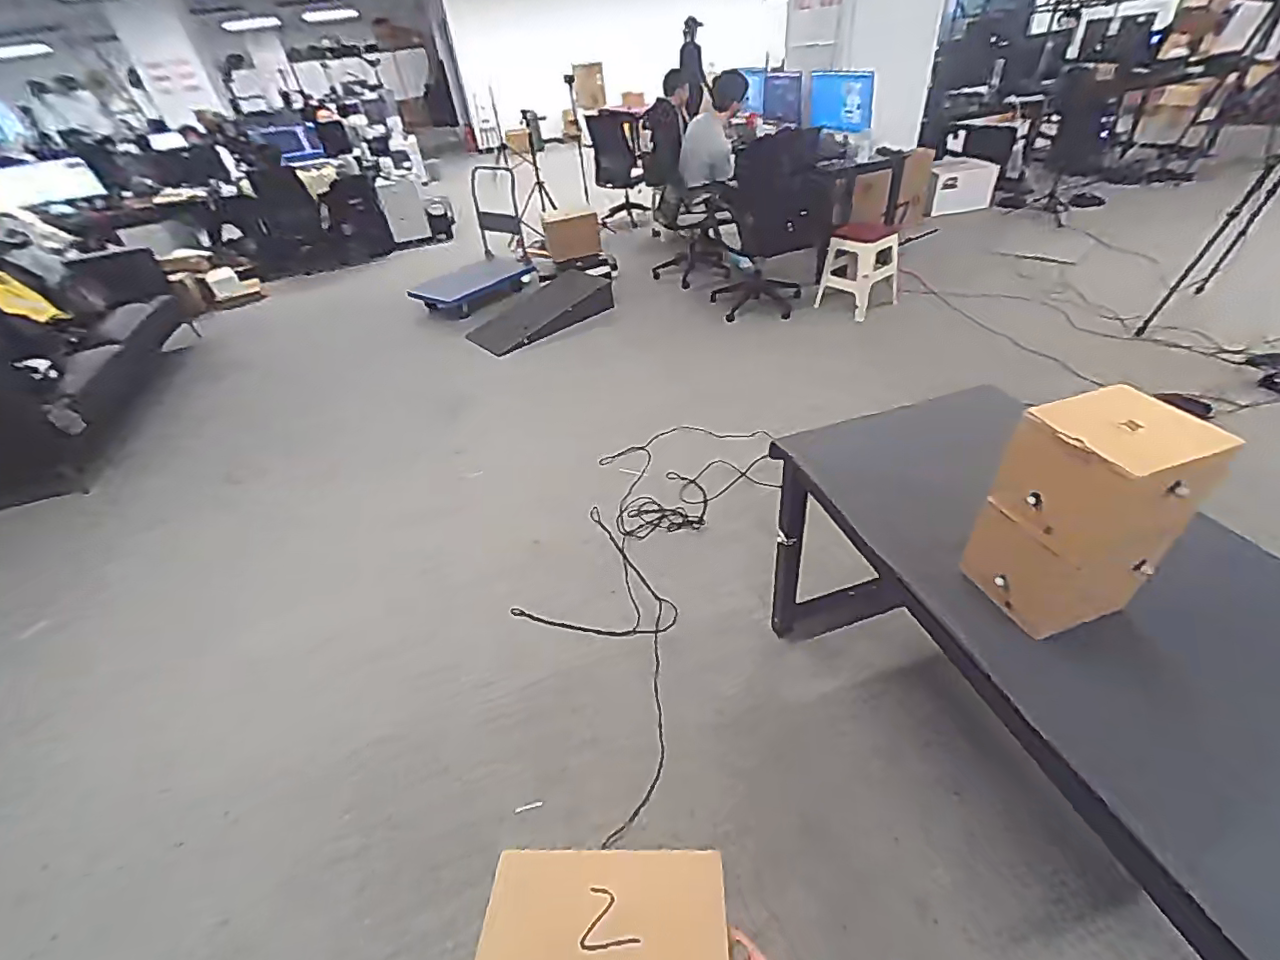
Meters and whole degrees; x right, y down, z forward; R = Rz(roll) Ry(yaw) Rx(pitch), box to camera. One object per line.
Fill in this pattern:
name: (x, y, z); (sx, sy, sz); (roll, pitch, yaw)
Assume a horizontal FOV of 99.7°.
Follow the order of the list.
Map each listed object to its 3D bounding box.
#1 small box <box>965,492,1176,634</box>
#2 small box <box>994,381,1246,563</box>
small box: (0.662, 0.113, 0.859); (0.179, 0.176, 0.168); (-15, 39, -10)
small box: (0.647, -0.012, 0.757); (0.179, 0.176, 0.168); (-15, 40, -10)
